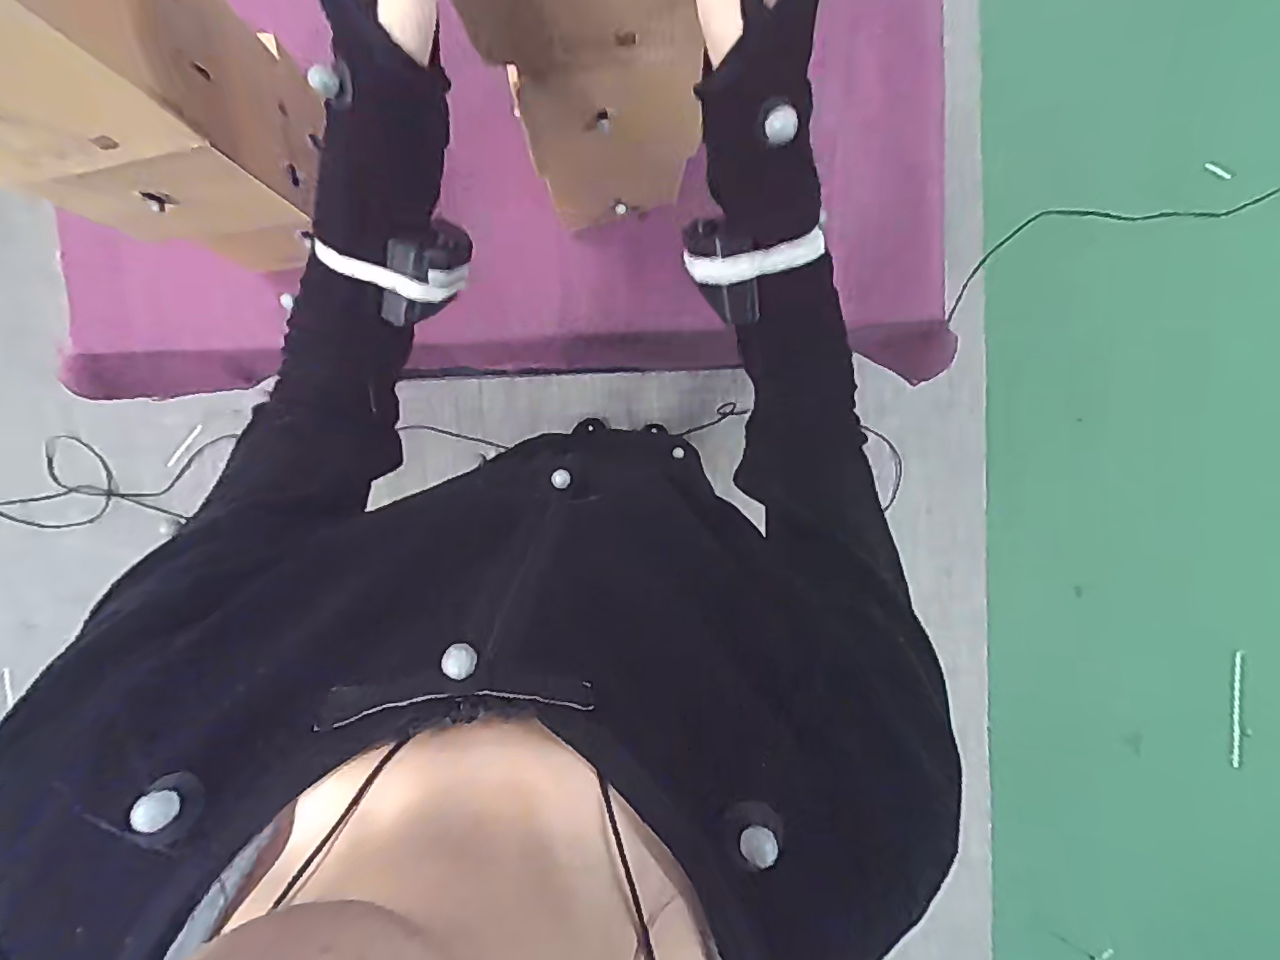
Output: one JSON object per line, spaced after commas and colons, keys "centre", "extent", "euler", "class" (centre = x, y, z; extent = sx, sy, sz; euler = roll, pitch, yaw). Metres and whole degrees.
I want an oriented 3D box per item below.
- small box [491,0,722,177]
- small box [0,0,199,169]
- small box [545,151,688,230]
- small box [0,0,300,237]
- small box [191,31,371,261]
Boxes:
{"centre": [-0.035, -0.407, 0.498], "extent": [0.179, 0.176, 0.168], "euler": [-10, 95, -2], "class": "small box"}
{"centre": [-0.422, -0.318, 0.326], "extent": [0.168, 0.176, 0.179], "euler": [-13, 94, -2], "class": "small box"}
{"centre": [-0.048, -0.439, 0.660], "extent": [0.168, 0.176, 0.179], "euler": [-15, 95, -1], "class": "small box"}
{"centre": [-0.441, -0.340, 0.487], "extent": [0.179, 0.176, 0.168], "euler": [-10, 95, -2], "class": "small box"}
{"centre": [-0.449, -0.378, 0.648], "extent": [0.168, 0.176, 0.179], "euler": [-9, 94, -3], "class": "small box"}
